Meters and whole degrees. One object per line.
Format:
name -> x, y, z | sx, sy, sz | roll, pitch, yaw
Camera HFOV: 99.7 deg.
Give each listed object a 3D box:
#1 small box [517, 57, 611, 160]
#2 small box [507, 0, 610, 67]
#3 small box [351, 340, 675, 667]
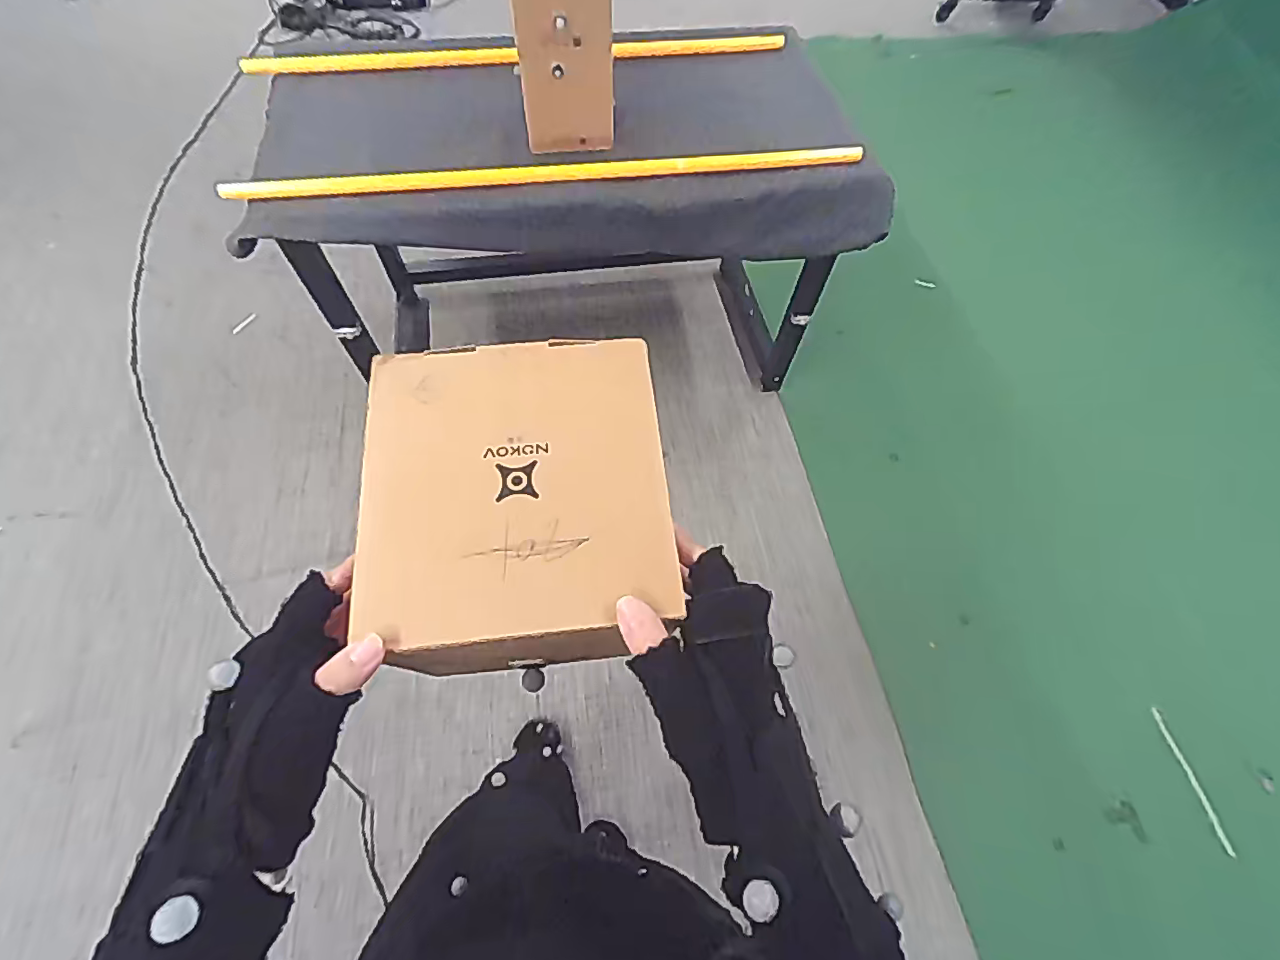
small box -> -0.149, -0.761, 1.062 | 0.168, 0.176, 0.179 | -8, 62, -6
small box -> -0.144, -0.839, 0.916 | 0.168, 0.176, 0.179 | -8, 63, -7
small box -> -0.076, 0.026, 0.380 | 0.168, 0.176, 0.179 | -5, 67, -5
